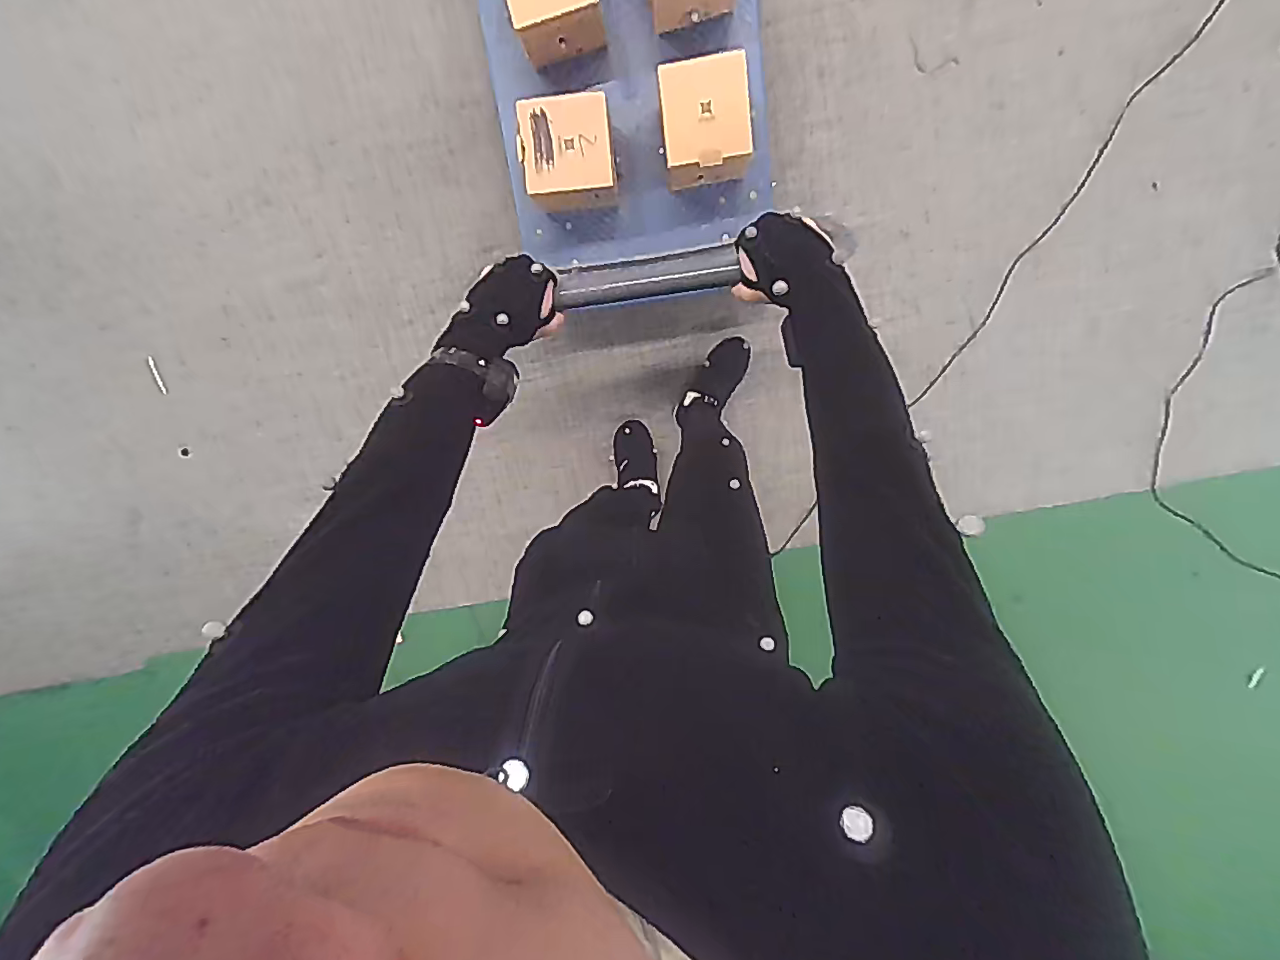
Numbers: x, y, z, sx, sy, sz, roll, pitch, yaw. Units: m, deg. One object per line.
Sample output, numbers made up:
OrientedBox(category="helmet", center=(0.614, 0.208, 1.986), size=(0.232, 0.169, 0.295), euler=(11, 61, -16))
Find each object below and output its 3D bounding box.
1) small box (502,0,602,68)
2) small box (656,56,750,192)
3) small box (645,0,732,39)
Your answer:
OrientedBox(category="small box", center=(-0.177, -0.943, 1.051), size=(0.168, 0.176, 0.179), euler=(-14, 104, 5))
OrientedBox(category="small box", center=(0.124, -0.714, 1.104), size=(0.168, 0.176, 0.179), euler=(-8, 106, 4))
OrientedBox(category="small box", center=(0.083, -0.997, 1.025), size=(0.168, 0.176, 0.179), euler=(-12, 106, 6))
